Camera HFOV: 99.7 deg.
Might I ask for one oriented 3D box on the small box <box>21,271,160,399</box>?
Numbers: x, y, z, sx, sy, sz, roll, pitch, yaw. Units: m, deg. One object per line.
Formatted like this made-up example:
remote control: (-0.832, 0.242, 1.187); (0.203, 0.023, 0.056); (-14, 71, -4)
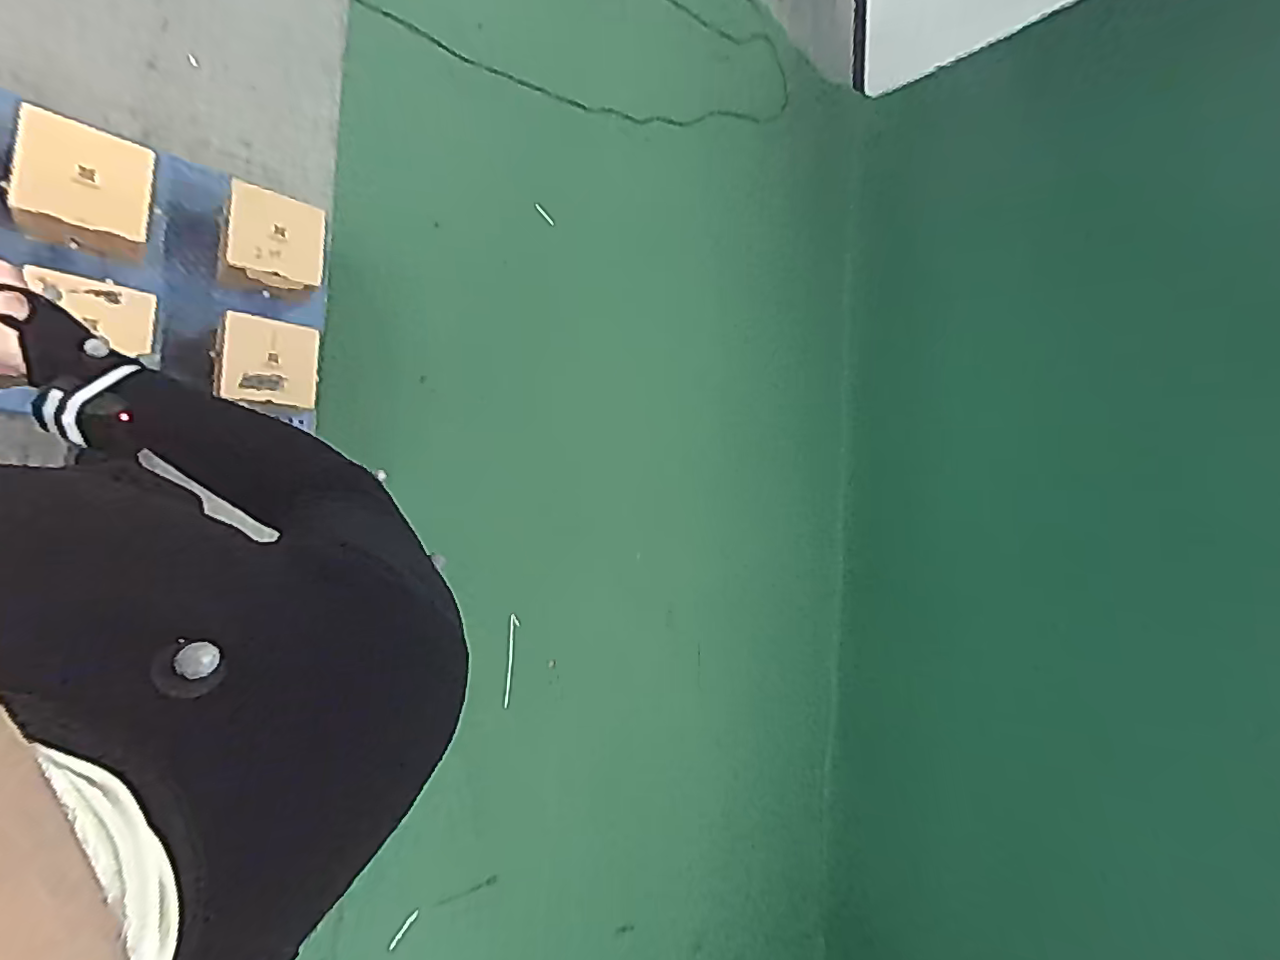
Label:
small box: (-1.012, -0.254, 1.001); (0.168, 0.176, 0.179); (7, 85, -44)

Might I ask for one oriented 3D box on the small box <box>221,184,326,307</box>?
small box: (-0.810, -0.504, 1.191); (0.168, 0.176, 0.179); (5, 87, -42)

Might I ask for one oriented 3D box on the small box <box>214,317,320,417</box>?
small box: (-0.828, -0.239, 1.197); (0.168, 0.176, 0.179); (5, 86, -44)

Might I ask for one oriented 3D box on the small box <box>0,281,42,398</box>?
small box: (-0.708, -0.162, 0.490); (0.179, 0.176, 0.168); (-24, 97, -42)

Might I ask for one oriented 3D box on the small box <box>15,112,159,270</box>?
small box: (-1.015, -0.519, 1.001); (0.168, 0.176, 0.179); (6, 87, -44)
